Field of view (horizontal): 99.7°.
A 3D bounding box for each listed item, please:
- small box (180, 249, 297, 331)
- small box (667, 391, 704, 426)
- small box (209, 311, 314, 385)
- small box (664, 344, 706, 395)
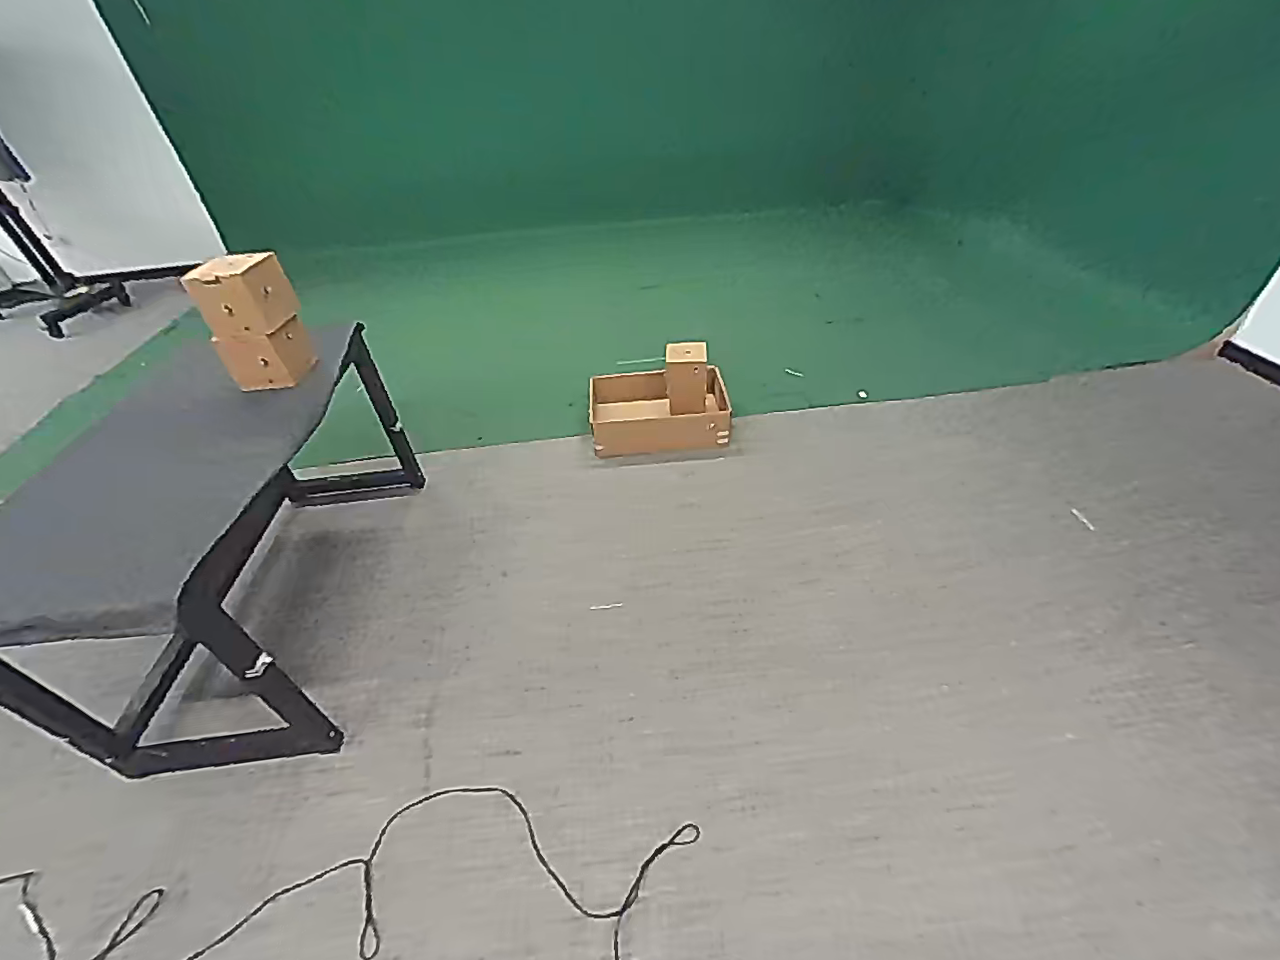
[{"bbox_3d":[-1.104,-0.525,1.508,0.168,0.176,0.179,-2,41,3],"label":"small box"},{"bbox_3d":[0.208,-0.367,2.500,0.168,0.176,0.179,-1,43,5],"label":"small box"},{"bbox_3d":[-1.109,-0.392,1.606,0.168,0.176,0.179,-4,40,1],"label":"small box"},{"bbox_3d":[0.198,-0.486,2.388,0.179,0.176,0.168,-1,42,5],"label":"small box"}]
